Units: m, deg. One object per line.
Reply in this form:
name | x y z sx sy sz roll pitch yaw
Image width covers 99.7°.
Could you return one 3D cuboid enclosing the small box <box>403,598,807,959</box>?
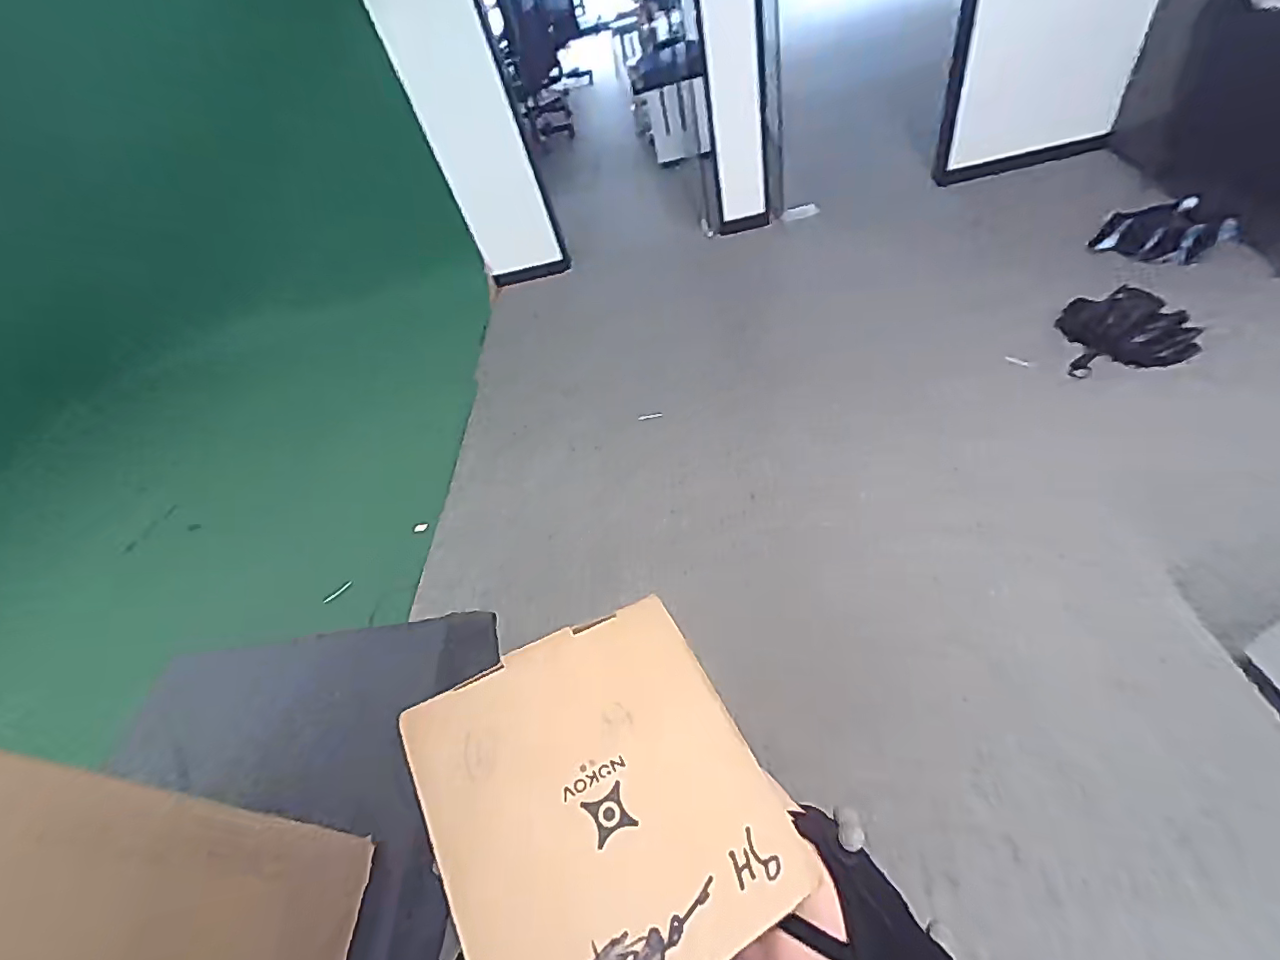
small box | -0.034 0.212 0.350 0.168 0.176 0.179 -19 59 -21
